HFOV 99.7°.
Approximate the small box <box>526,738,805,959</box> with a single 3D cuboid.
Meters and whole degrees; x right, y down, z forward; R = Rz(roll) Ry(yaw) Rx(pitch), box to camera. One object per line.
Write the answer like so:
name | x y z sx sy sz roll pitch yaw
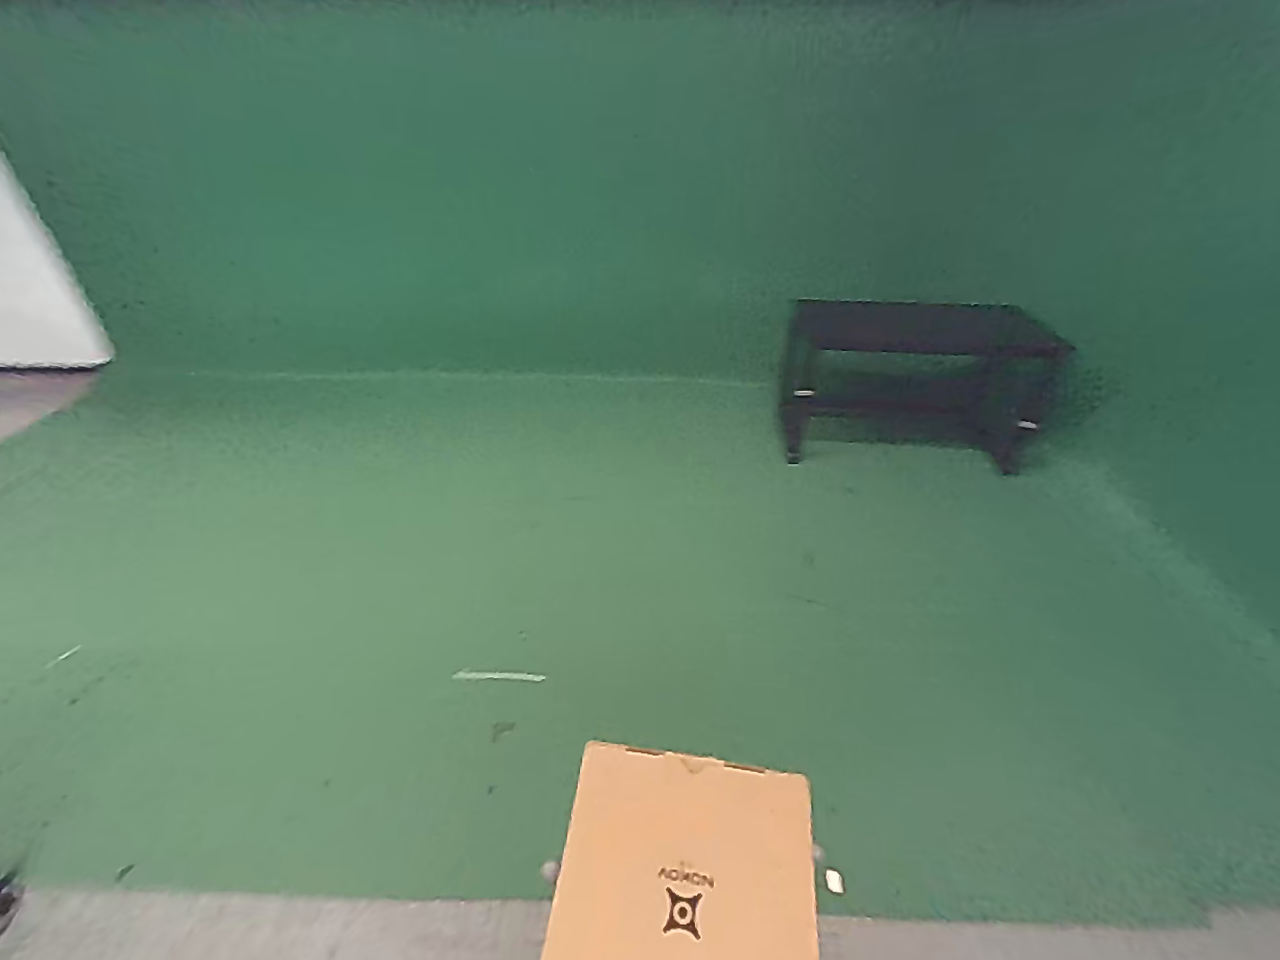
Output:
small box | 0.020 0.318 0.394 0.168 0.176 0.179 6 45 5
